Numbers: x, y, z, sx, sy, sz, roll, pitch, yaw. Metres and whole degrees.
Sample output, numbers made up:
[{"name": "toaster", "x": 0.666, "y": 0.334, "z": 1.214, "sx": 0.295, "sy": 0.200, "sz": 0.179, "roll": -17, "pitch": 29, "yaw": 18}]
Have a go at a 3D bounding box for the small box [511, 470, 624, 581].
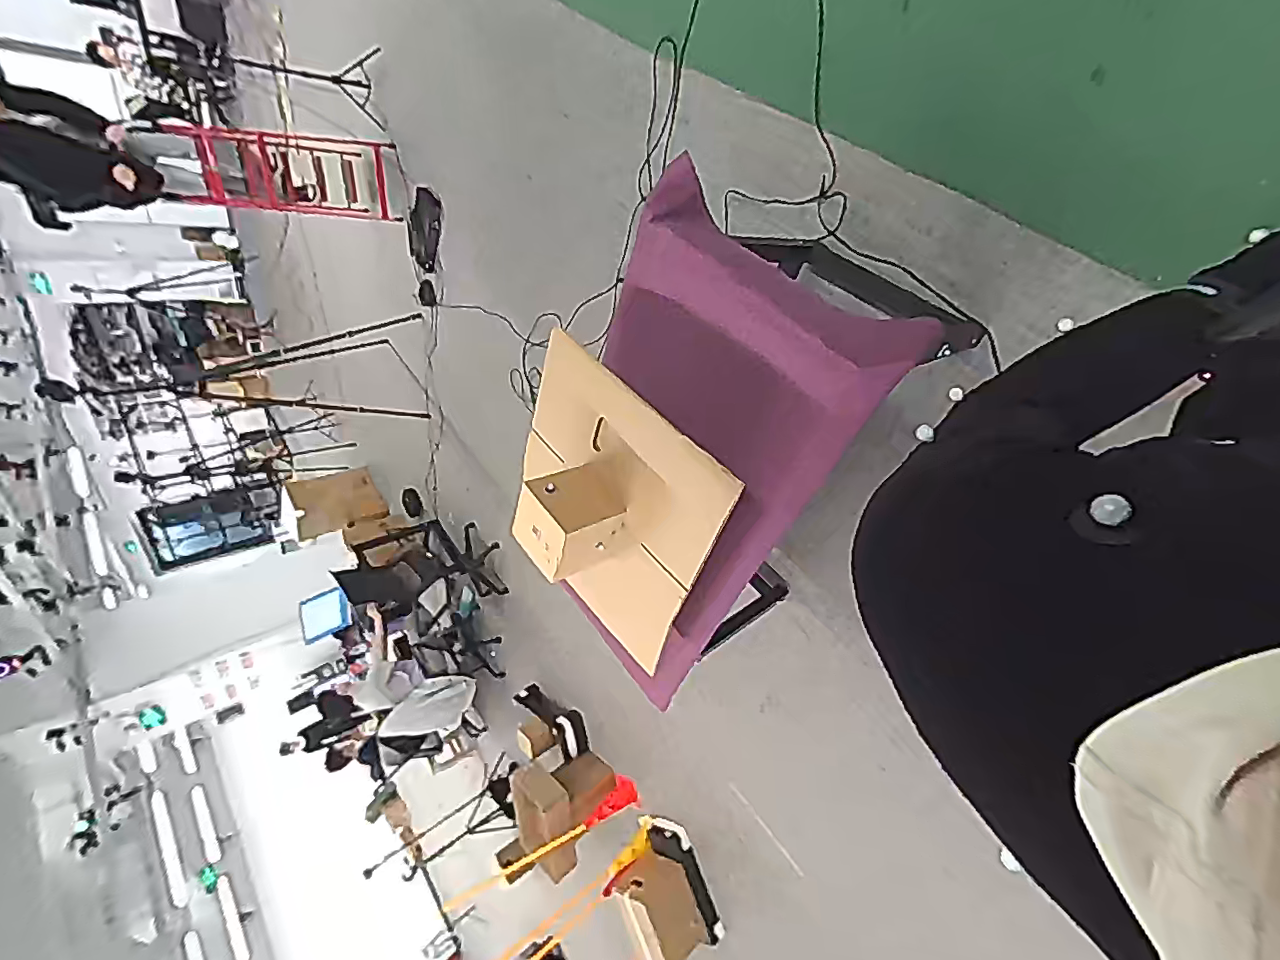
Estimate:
[{"name": "small box", "x": -0.168, "y": 0.094, "z": 1.238, "sx": 0.179, "sy": 0.176, "sz": 0.168, "roll": 45, "pitch": 133, "yaw": 27}]
